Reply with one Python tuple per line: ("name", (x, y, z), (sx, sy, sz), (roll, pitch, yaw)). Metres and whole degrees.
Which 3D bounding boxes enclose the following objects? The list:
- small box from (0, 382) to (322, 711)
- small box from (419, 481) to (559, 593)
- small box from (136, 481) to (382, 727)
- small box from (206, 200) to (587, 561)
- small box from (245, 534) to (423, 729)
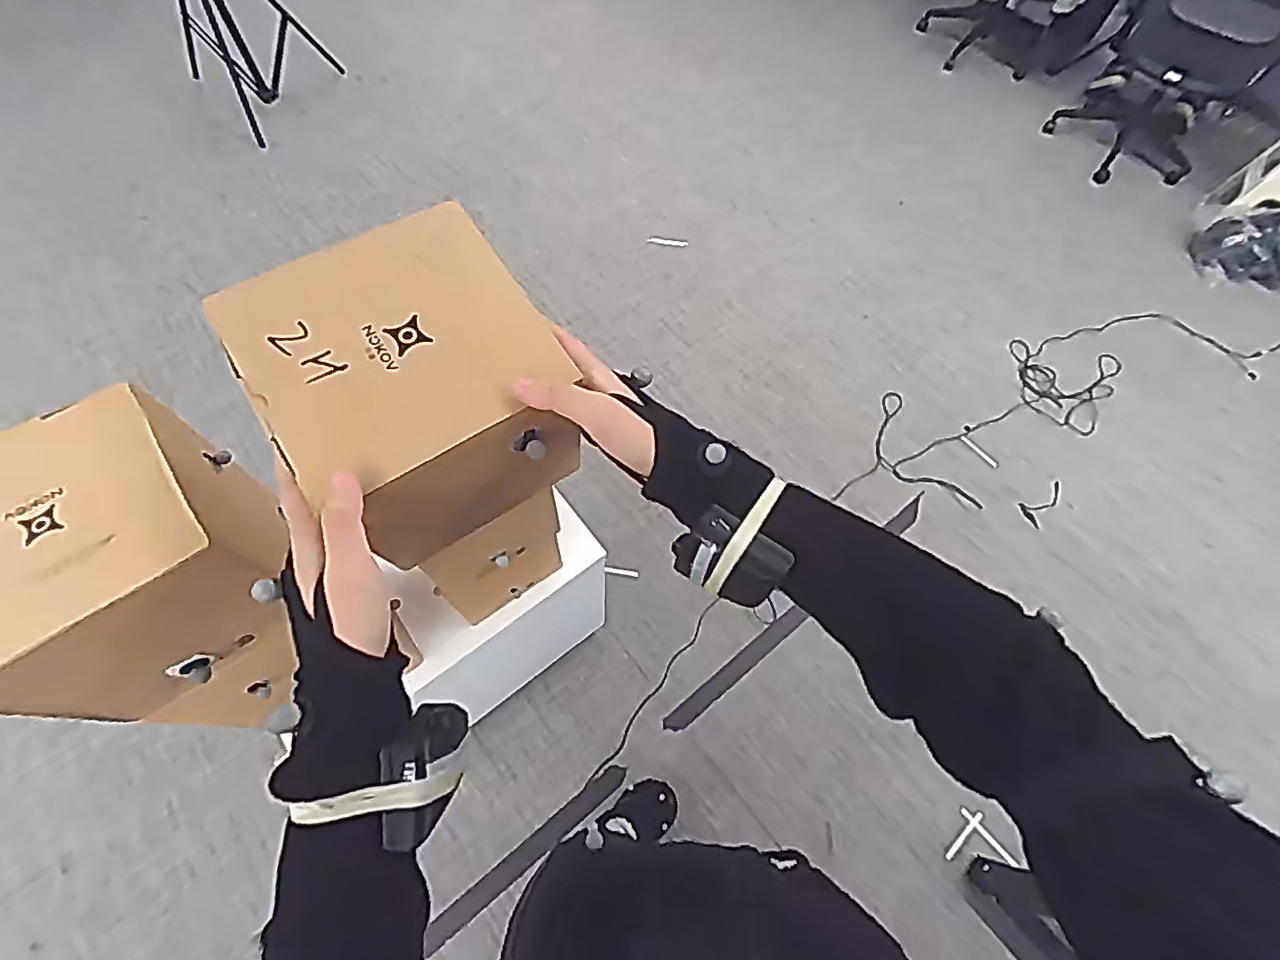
("small box", (-0.404, 0.063, 0.435), (0.168, 0.176, 0.179), (-36, 71, -18))
("small box", (-0.214, 0.009, 0.654), (0.168, 0.176, 0.179), (-33, 71, -17))
("small box", (-0.413, 0.137, 0.579), (0.168, 0.176, 0.179), (-36, 70, -19))
("small box", (-0.158, -0.061, 0.409), (0.179, 0.176, 0.168), (-32, 77, -16))
("small box", (-0.424, 0.209, 0.724), (0.168, 0.176, 0.179), (-34, 69, -18))
